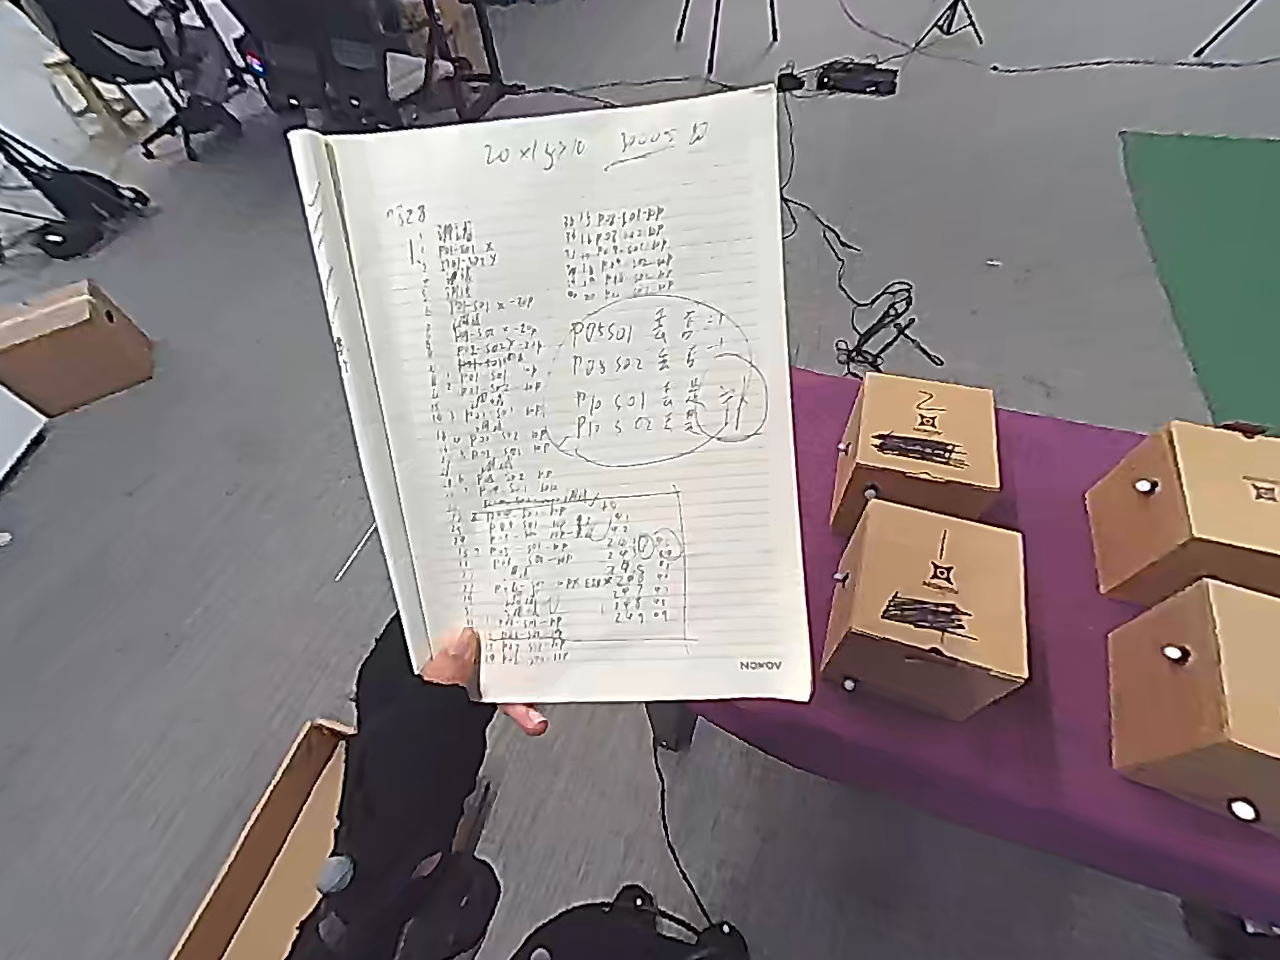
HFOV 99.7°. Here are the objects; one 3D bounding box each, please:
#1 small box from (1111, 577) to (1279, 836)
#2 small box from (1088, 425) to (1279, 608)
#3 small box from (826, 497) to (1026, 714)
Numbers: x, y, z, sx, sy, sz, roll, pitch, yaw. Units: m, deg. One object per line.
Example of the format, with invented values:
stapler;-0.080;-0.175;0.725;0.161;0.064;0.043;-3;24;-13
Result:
small box;0.630;0.236;0.558;0.168;0.176;0.179;18;58;18
small box;0.712;0.061;0.681;0.168;0.176;0.179;13;56;15
small box;0.330;0.154;0.646;0.168;0.176;0.179;15;57;16
